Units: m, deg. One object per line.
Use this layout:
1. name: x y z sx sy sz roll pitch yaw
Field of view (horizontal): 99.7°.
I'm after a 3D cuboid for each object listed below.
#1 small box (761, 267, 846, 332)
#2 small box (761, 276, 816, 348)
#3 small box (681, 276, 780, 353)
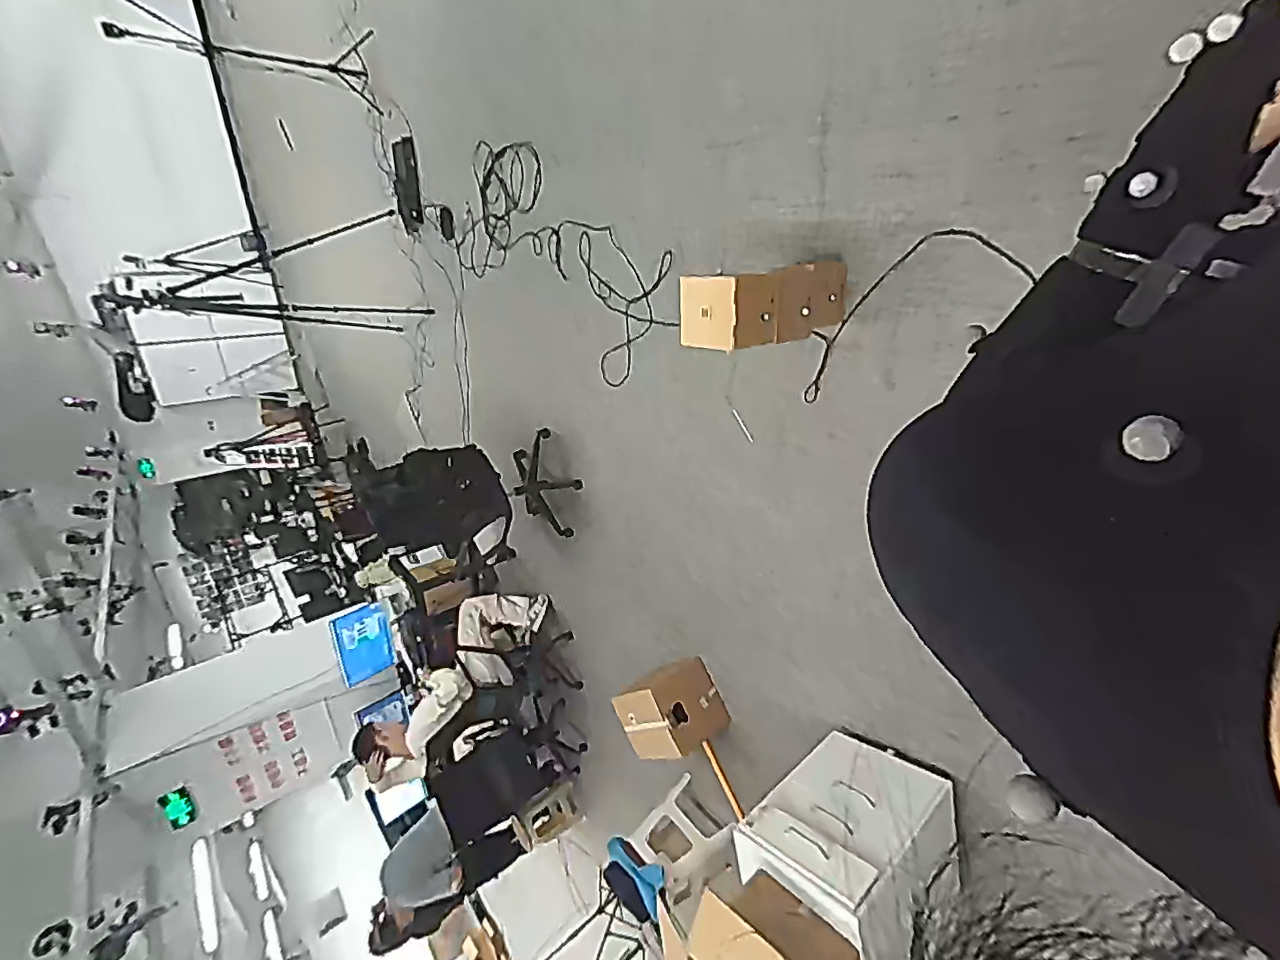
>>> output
1. small box: 0.464 -0.514 1.541 0.179 0.176 0.168 18 118 48
2. small box: 0.343 -0.454 1.447 0.179 0.176 0.168 22 122 45
3. small box: 0.222 -0.415 1.345 0.179 0.176 0.168 20 121 45
